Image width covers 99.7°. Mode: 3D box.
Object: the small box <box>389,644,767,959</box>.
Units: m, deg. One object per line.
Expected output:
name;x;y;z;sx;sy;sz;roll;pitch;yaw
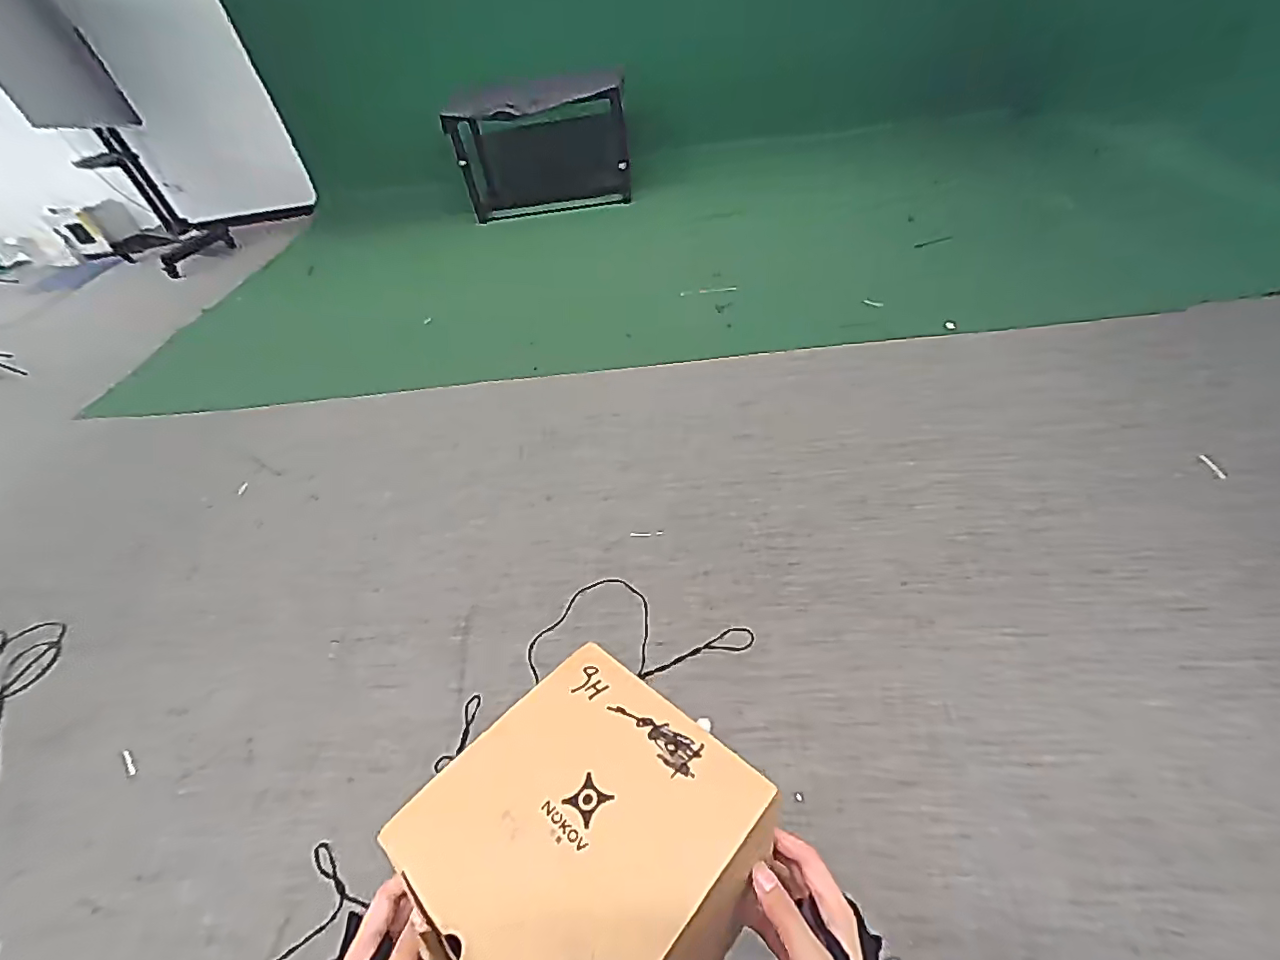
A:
small box;-0.028;0.260;0.372;0.168;0.176;0.179;26;49;36
